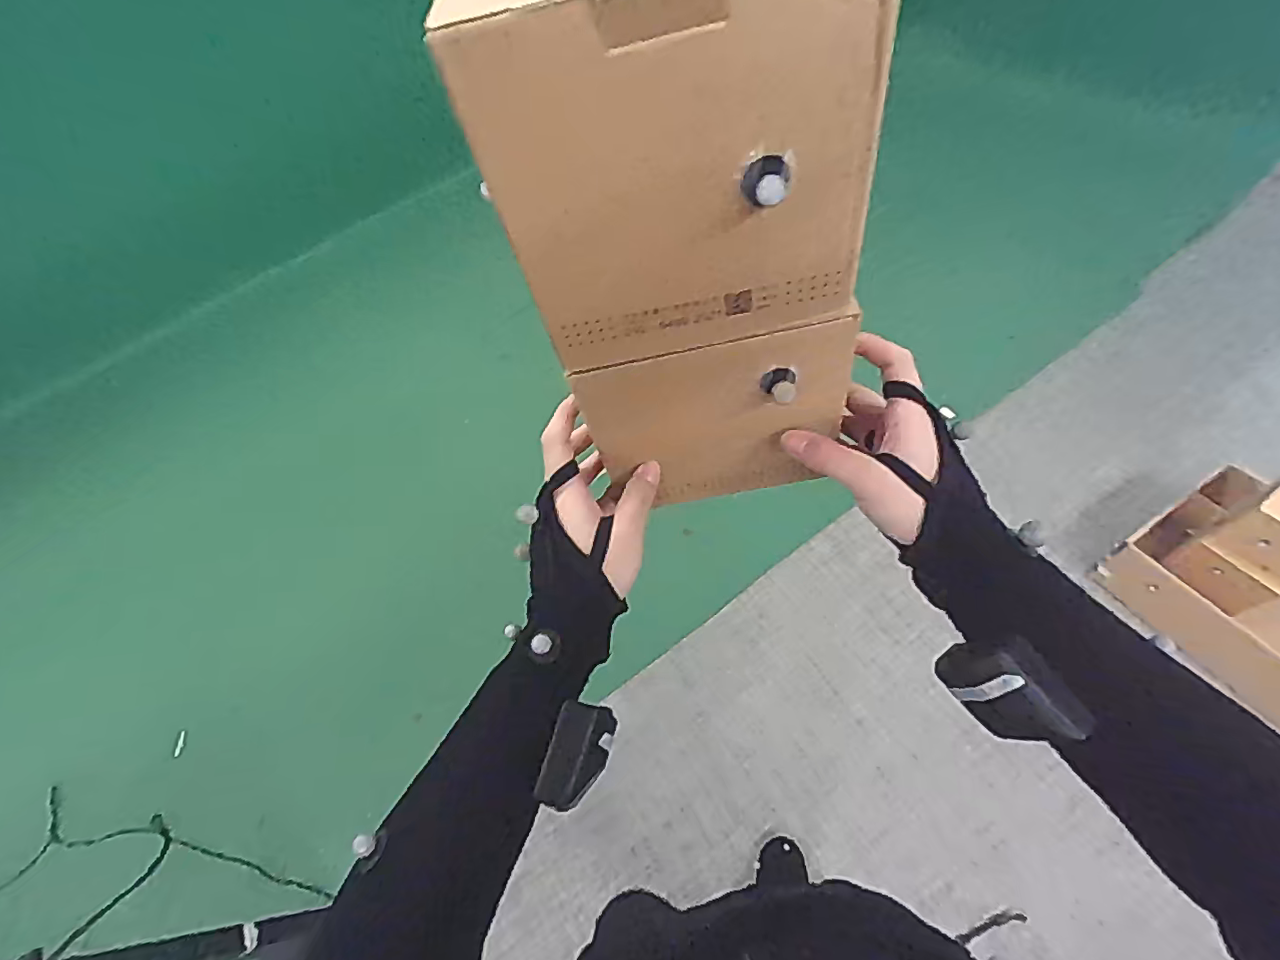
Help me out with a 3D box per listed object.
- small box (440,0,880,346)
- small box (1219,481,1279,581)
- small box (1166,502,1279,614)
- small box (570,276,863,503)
[{"bbox_3d":[0.018,-0.192,0.295,0.168,0.176,0.179,-8,55,7],"label":"small box"},{"bbox_3d":[1.429,0.102,1.165,0.179,0.176,0.168,-36,58,-11],"label":"small box"},{"bbox_3d":[1.446,0.193,1.299,0.168,0.176,0.179,-34,60,-9],"label":"small box"},{"bbox_3d":[0.053,-0.100,0.426,0.179,0.176,0.168,-9,55,8],"label":"small box"}]
